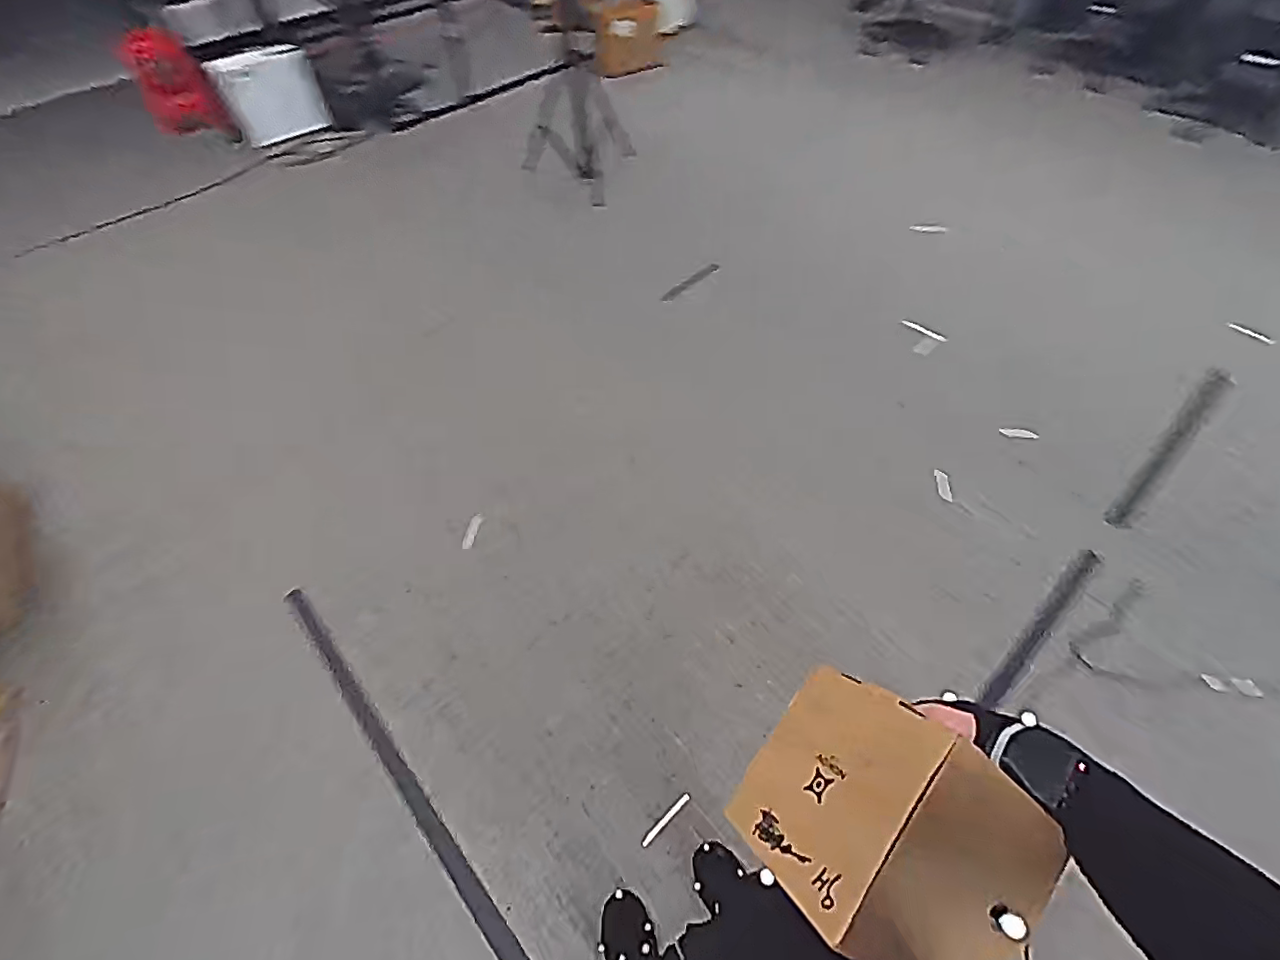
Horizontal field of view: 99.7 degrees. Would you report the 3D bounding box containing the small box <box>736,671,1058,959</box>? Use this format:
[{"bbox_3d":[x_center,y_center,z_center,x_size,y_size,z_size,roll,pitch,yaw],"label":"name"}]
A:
[{"bbox_3d":[0.229,0.318,0.492,0.176,0.168,0.179,44,78,-13],"label":"small box"}]
